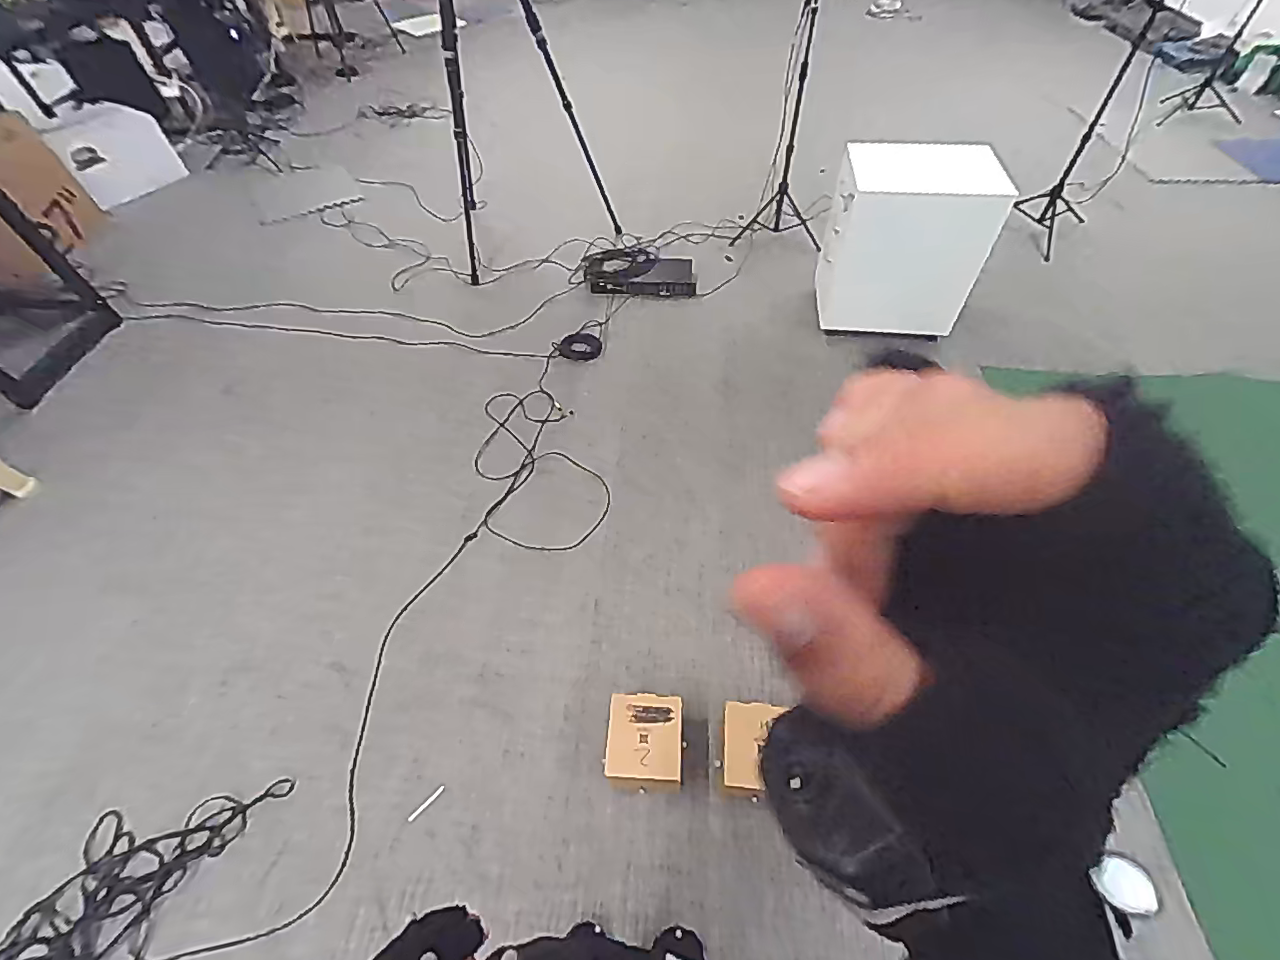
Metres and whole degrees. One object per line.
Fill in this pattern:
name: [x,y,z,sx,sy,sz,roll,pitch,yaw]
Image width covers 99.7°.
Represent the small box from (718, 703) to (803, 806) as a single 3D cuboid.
small box: [0.271,0.633,1.240,0.168,0.176,0.179,4,52,4]
